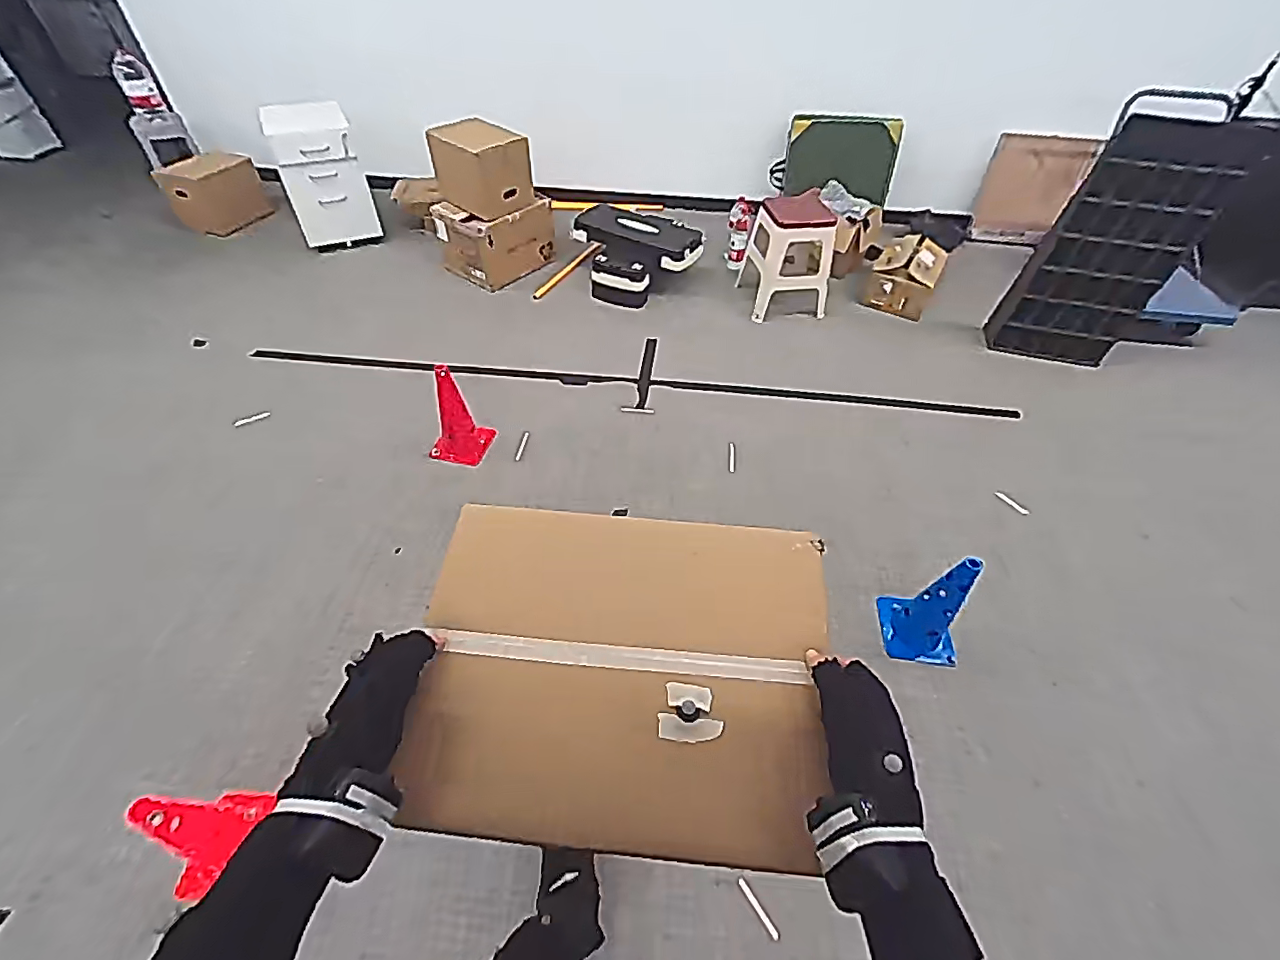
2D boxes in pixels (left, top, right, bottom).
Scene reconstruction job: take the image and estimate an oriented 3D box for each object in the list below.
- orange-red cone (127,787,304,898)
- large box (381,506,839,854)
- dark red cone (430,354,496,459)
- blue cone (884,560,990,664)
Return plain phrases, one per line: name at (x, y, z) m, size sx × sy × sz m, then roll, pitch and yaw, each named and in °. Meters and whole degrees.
orange-red cone at (-0.875, 0.688, 1.073) m, size 0.198 × 0.360 × 0.199 m, roll 3°, pitch 49°, yaw 2°
large box at (-0.018, 0.253, 0.664) m, size 0.408 × 0.320 × 0.320 m, roll 5°, pitch 57°, yaw 3°
dark red cone at (-0.659, -0.272, 1.923) m, size 0.201 × 0.394 × 0.202 m, roll 11°, pitch 48°, yaw 6°
blue cone at (0.832, 0.335, 1.478) m, size 0.192 × 0.380 × 0.193 m, roll 9°, pitch 48°, yaw 5°
